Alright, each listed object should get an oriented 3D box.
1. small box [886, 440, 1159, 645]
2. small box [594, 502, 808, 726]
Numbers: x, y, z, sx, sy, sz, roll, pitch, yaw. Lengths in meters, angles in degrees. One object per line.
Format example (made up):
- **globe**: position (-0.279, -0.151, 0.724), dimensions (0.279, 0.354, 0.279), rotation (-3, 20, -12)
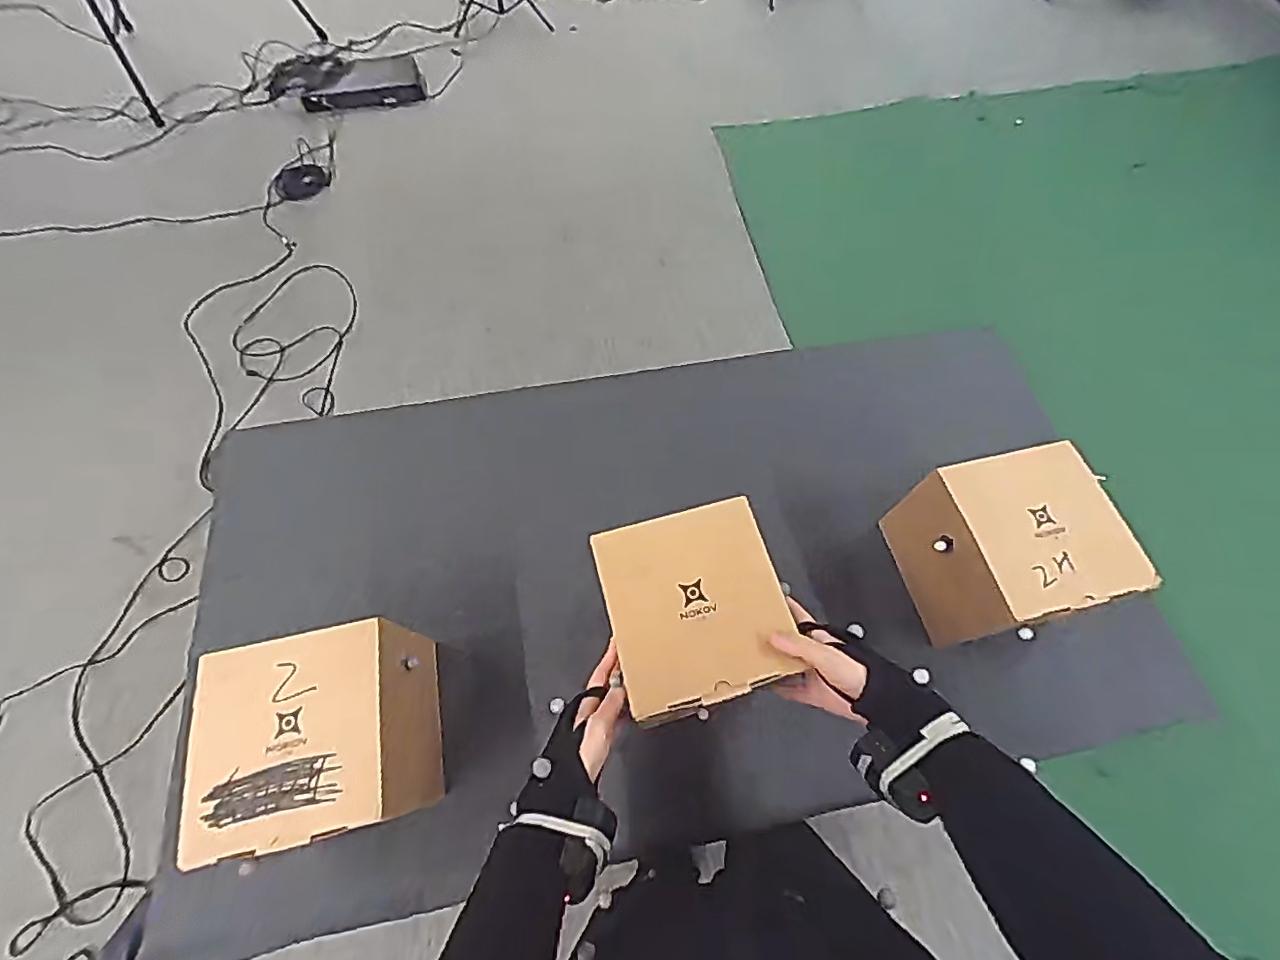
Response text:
- **small box**: position (0.426, 0.081, 0.643), dimensions (0.168, 0.176, 0.179), rotation (-13, 65, -4)
- **small box**: position (0.055, 0.152, 0.587), dimensions (0.168, 0.176, 0.179), rotation (-16, 64, -4)
